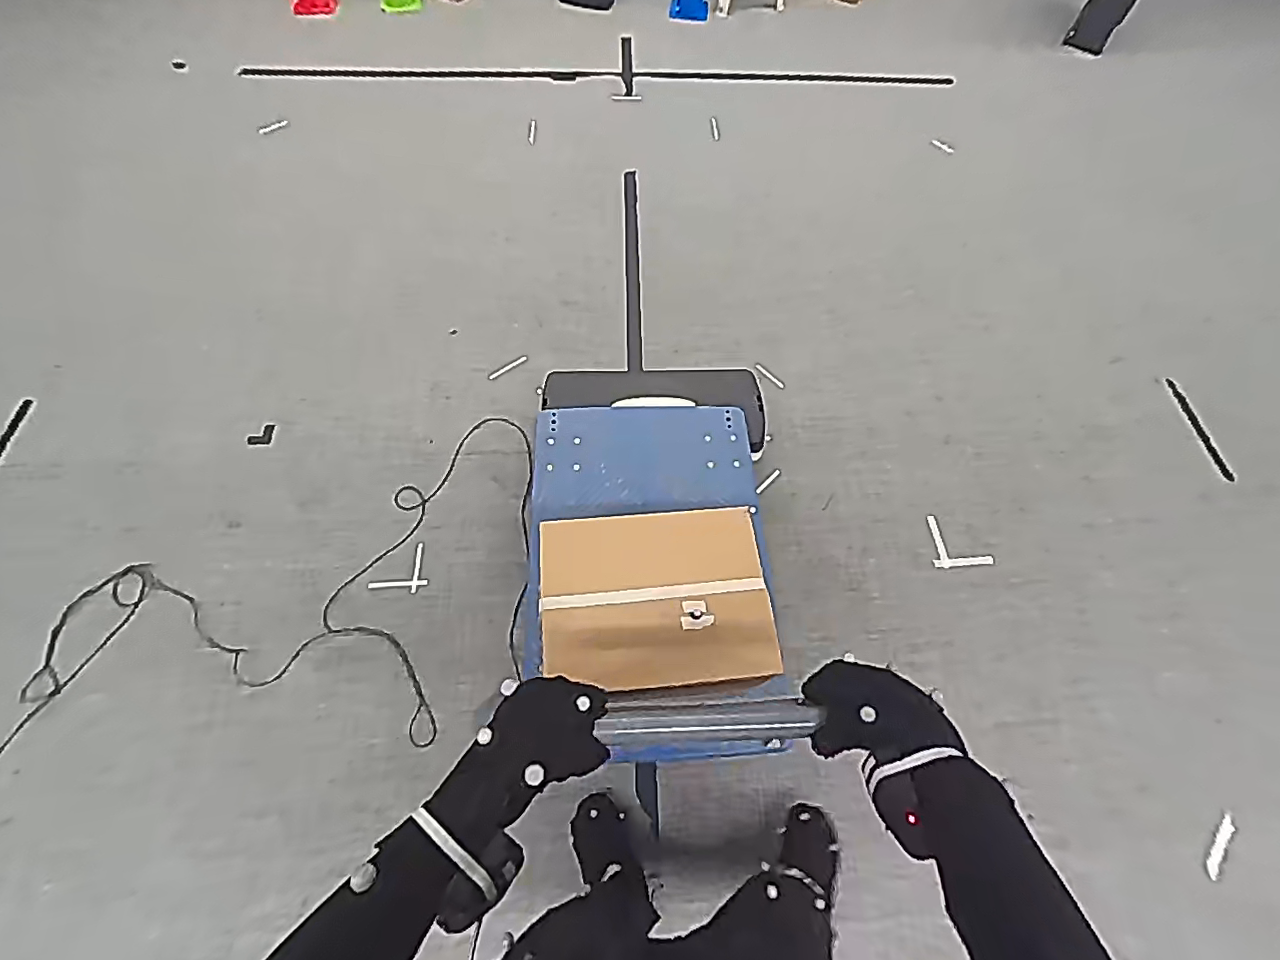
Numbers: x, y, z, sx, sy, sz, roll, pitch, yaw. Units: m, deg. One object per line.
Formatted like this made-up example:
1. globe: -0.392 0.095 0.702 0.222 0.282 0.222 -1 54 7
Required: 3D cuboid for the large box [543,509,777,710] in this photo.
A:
1. large box: 0.016 0.277 1.118 0.408 0.320 0.320 -4 63 -6
